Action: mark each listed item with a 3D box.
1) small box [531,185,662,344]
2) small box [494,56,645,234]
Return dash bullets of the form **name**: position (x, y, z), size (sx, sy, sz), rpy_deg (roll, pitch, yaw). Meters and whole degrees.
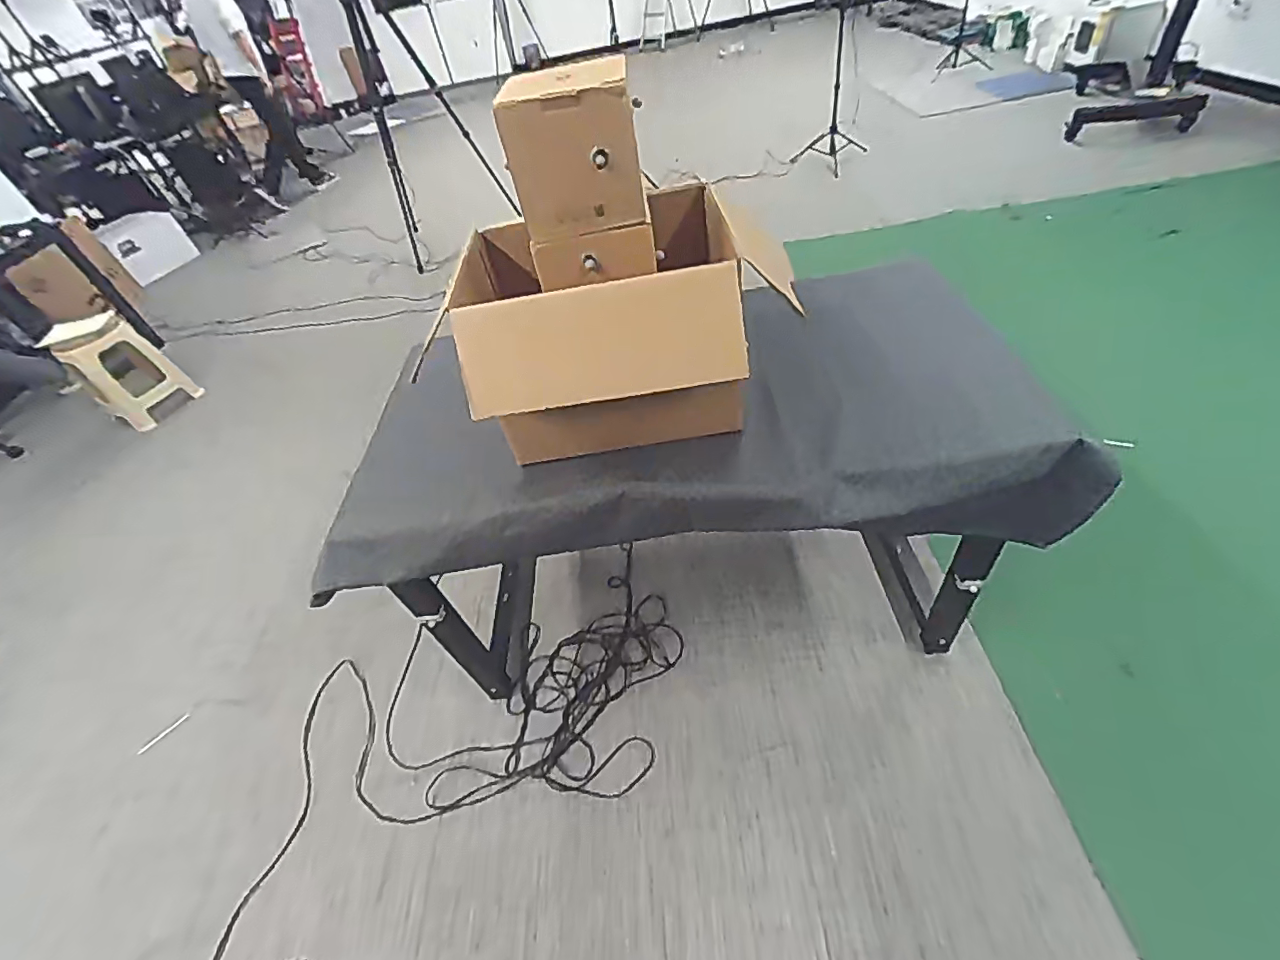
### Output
- **small box**: position (-0.060, -0.340, 0.862), size (0.179, 0.176, 0.168), rpy_deg (-9, 45, 4)
- **small box**: position (-0.086, -0.457, 0.752), size (0.168, 0.176, 0.179), rpy_deg (-7, 44, 4)
